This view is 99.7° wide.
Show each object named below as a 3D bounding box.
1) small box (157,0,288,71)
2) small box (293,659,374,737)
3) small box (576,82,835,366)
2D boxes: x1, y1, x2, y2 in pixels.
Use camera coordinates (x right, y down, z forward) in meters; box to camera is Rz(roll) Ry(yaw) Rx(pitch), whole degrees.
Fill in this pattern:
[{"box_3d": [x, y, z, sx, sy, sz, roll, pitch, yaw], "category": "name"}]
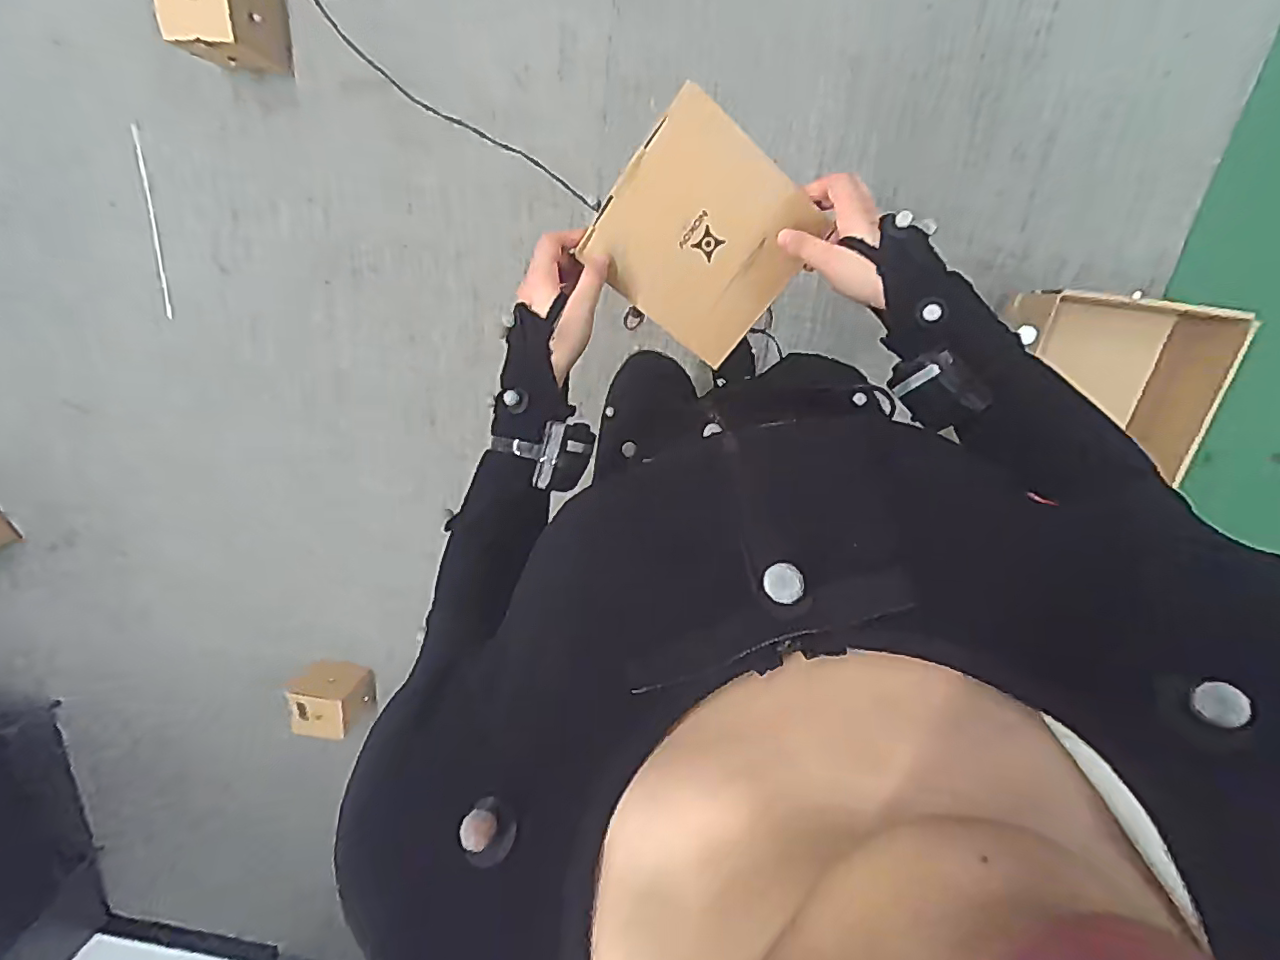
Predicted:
[{"box_3d": [-0.906, -1.024, 1.180, 0.168, 0.176, 0.179, 6, 111, 4], "category": "small box"}, {"box_3d": [-1.031, 0.732, 1.830, 0.179, 0.176, 0.168, 9, 110, 3], "category": "small box"}, {"box_3d": [0.053, -0.249, 0.548, 0.179, 0.176, 0.168, 32, 112, -20], "category": "small box"}]
